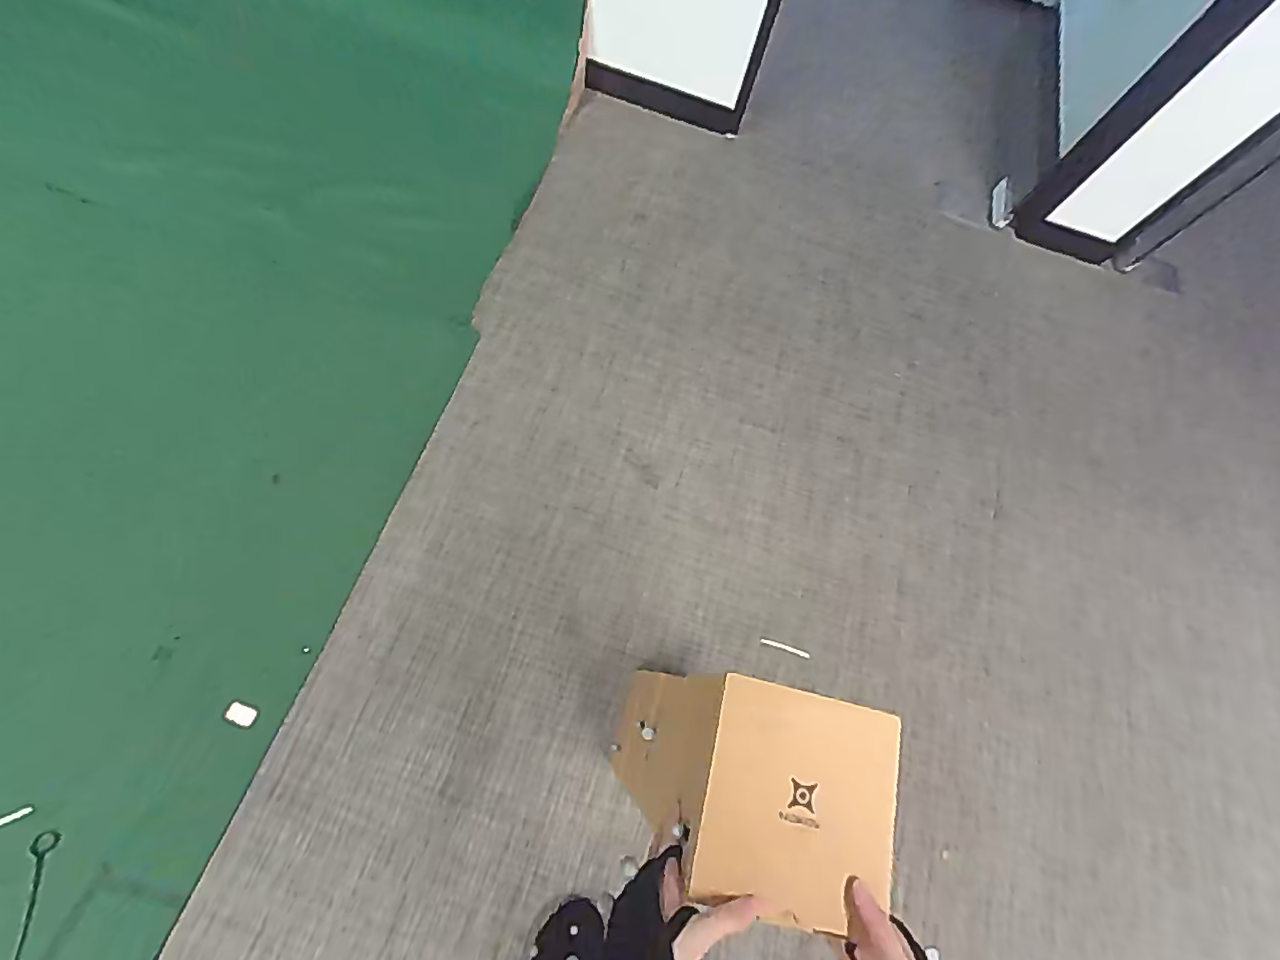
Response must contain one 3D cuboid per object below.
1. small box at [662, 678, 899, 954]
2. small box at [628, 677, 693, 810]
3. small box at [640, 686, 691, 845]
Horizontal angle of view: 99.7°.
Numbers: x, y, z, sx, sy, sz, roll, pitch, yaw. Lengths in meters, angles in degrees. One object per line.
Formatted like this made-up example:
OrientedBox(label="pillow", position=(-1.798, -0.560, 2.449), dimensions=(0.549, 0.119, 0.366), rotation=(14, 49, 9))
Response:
OrientedBox(label="small box", position=(0.125, 0.302, 0.528), dimensions=(0.168, 0.176, 0.179), rotation=(15, 70, -2))
OrientedBox(label="small box", position=(0.082, 0.412, 0.834), dimensions=(0.168, 0.176, 0.179), rotation=(14, 69, -2))
OrientedBox(label="small box", position=(0.109, 0.362, 0.679), dimensions=(0.179, 0.176, 0.168), rotation=(16, 69, -1))
